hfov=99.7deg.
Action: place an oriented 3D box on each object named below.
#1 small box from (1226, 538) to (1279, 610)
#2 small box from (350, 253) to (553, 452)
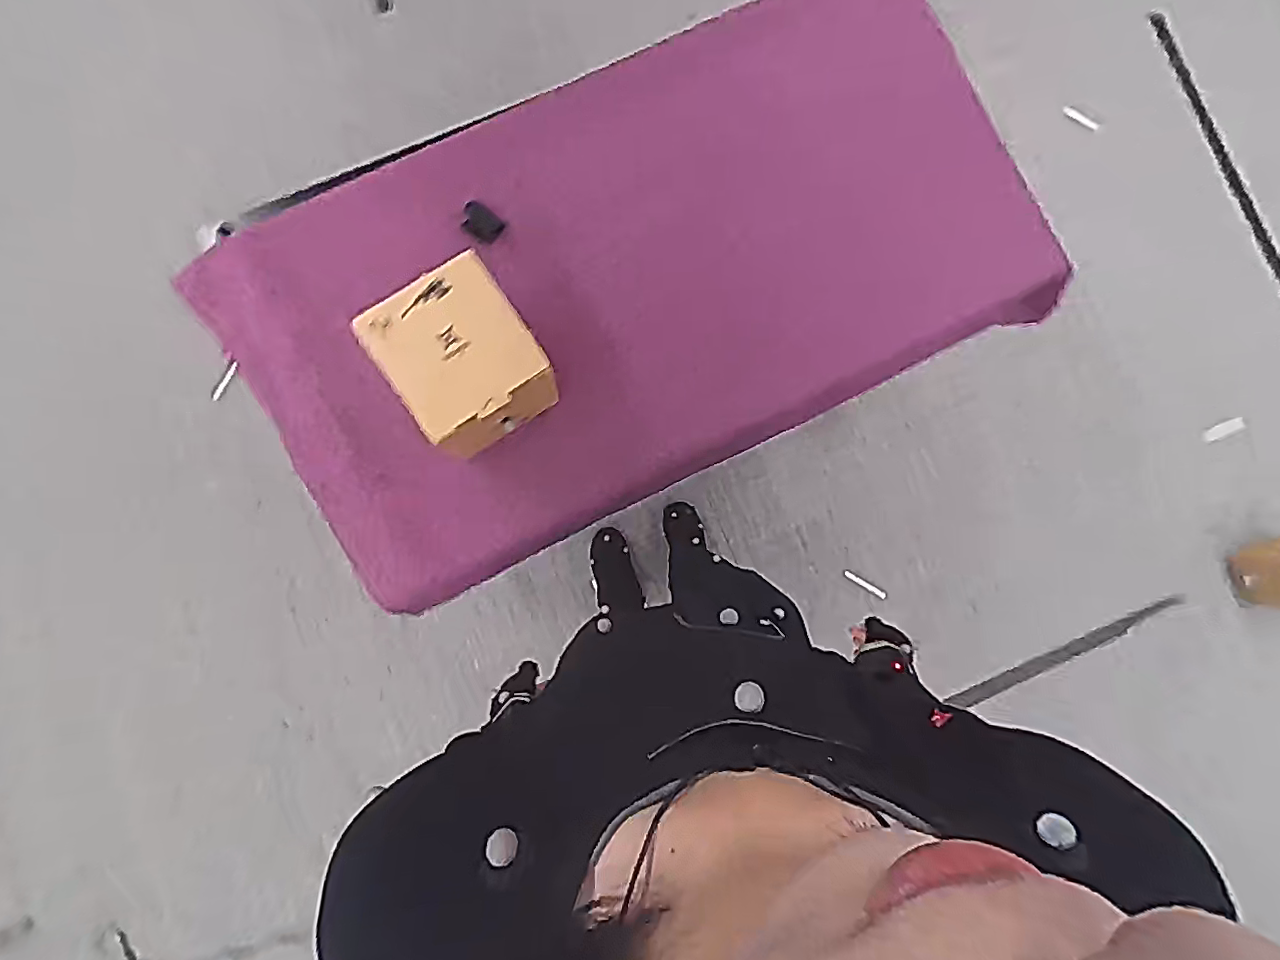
[{"bbox_3d":[1.914,0.274,1.591,0.179,0.176,0.168,-23,86,-6],"label":"small box"},{"bbox_3d":[-0.227,-0.150,0.709,0.168,0.176,0.179,-35,89,-8],"label":"small box"}]
